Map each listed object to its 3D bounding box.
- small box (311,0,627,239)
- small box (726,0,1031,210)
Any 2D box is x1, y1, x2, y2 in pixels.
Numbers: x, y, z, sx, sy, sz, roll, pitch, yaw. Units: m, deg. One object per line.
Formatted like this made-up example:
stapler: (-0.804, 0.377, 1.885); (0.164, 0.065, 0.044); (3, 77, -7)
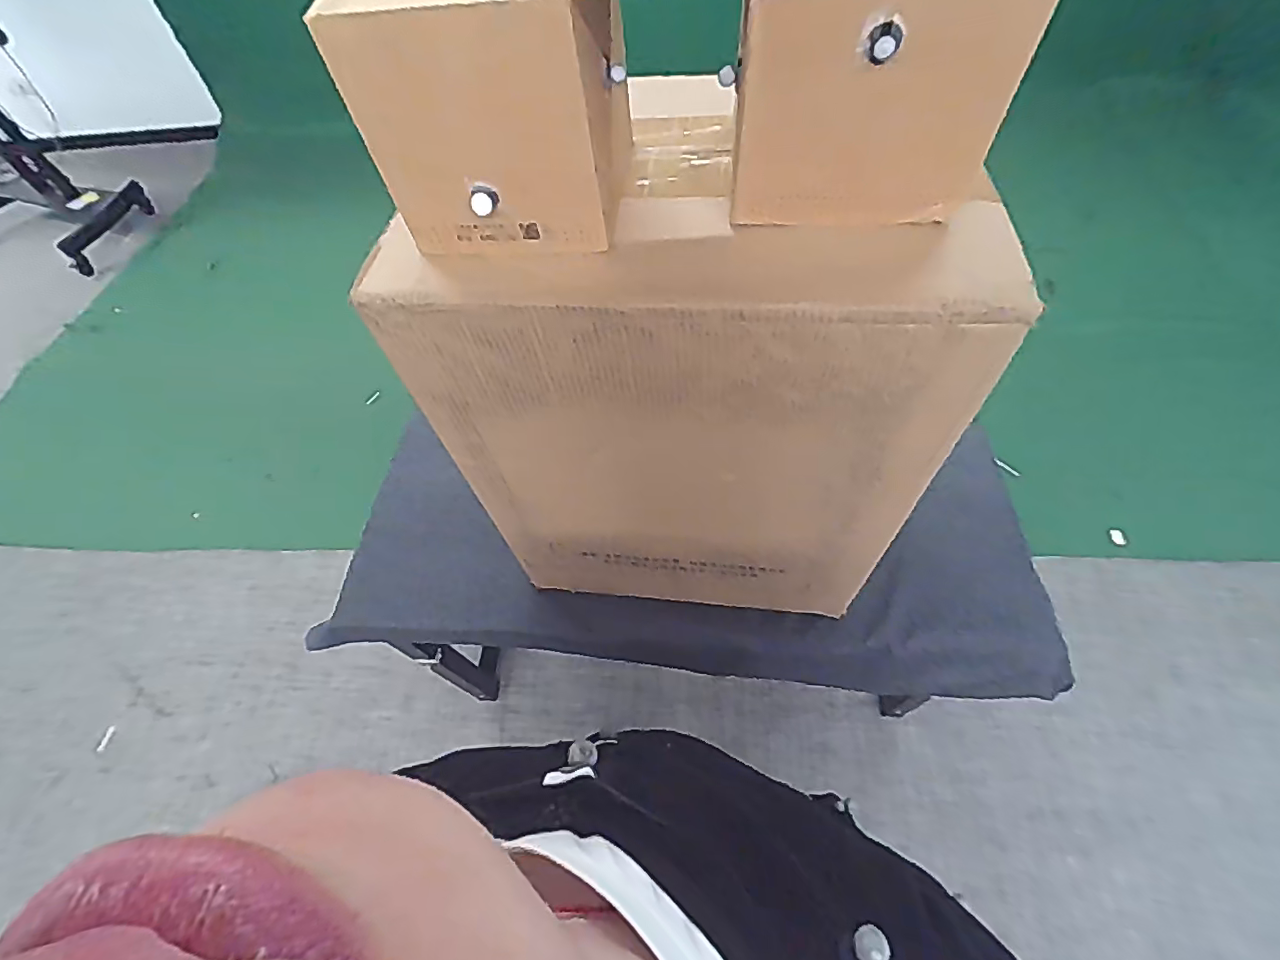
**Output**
small box: (-0.105, -0.315, 0.417); (0.168, 0.176, 0.179); (3, 61, 8)
small box: (0.158, -0.324, 0.400); (0.179, 0.176, 0.168); (4, 61, 5)
